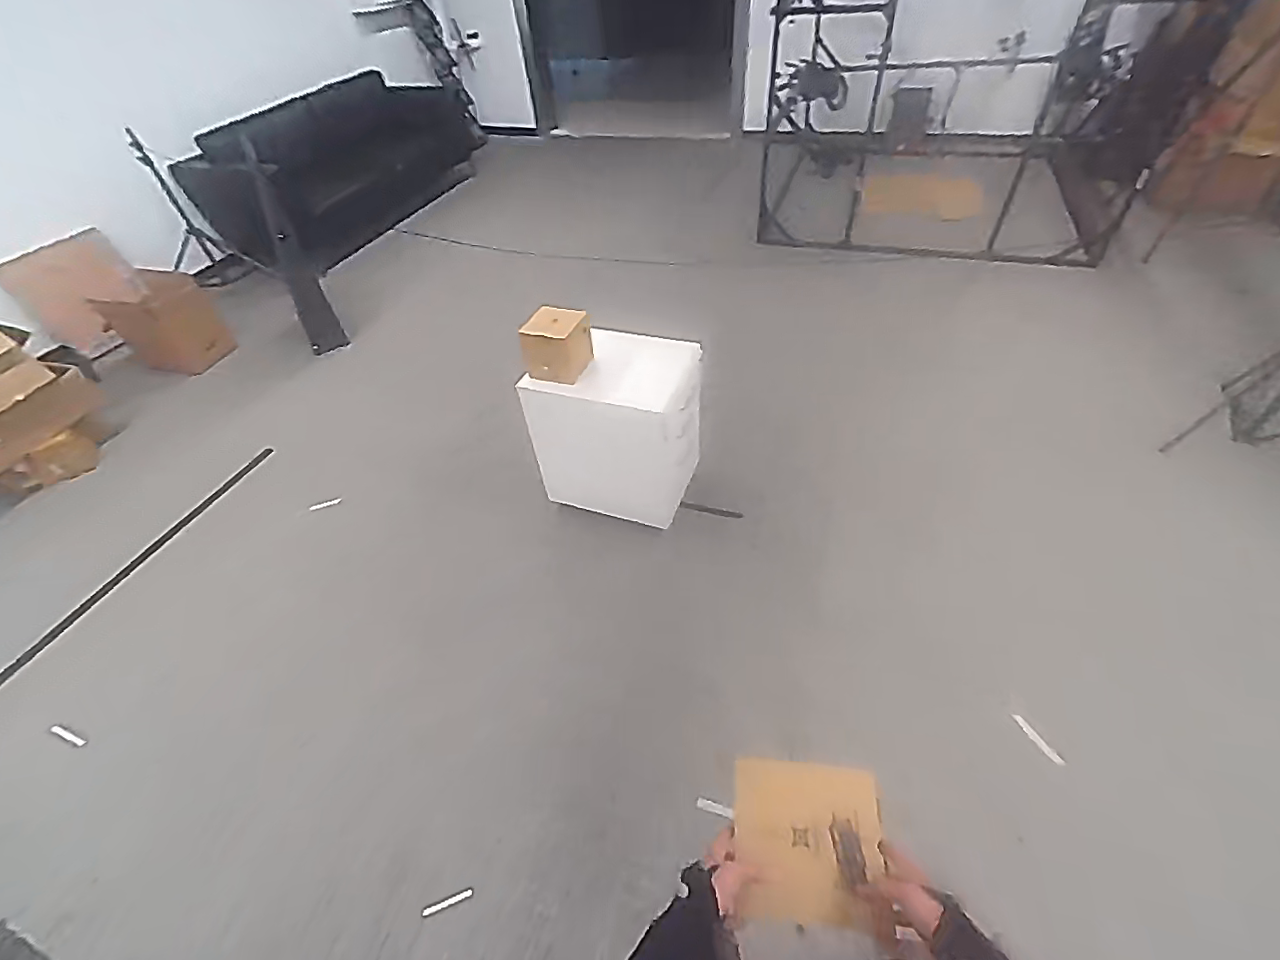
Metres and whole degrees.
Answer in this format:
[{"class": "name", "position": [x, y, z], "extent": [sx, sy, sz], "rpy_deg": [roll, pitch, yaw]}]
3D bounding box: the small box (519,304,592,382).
[{"class": "small box", "position": [-0.264, -0.442, 1.745], "extent": [0.168, 0.176, 0.179], "rpy_deg": [12, 49, 17]}]

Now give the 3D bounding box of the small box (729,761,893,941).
[{"class": "small box", "position": [0.207, 0.472, 0.704], "extent": [0.179, 0.176, 0.168], "rpy_deg": [-2, 56, 11]}]
